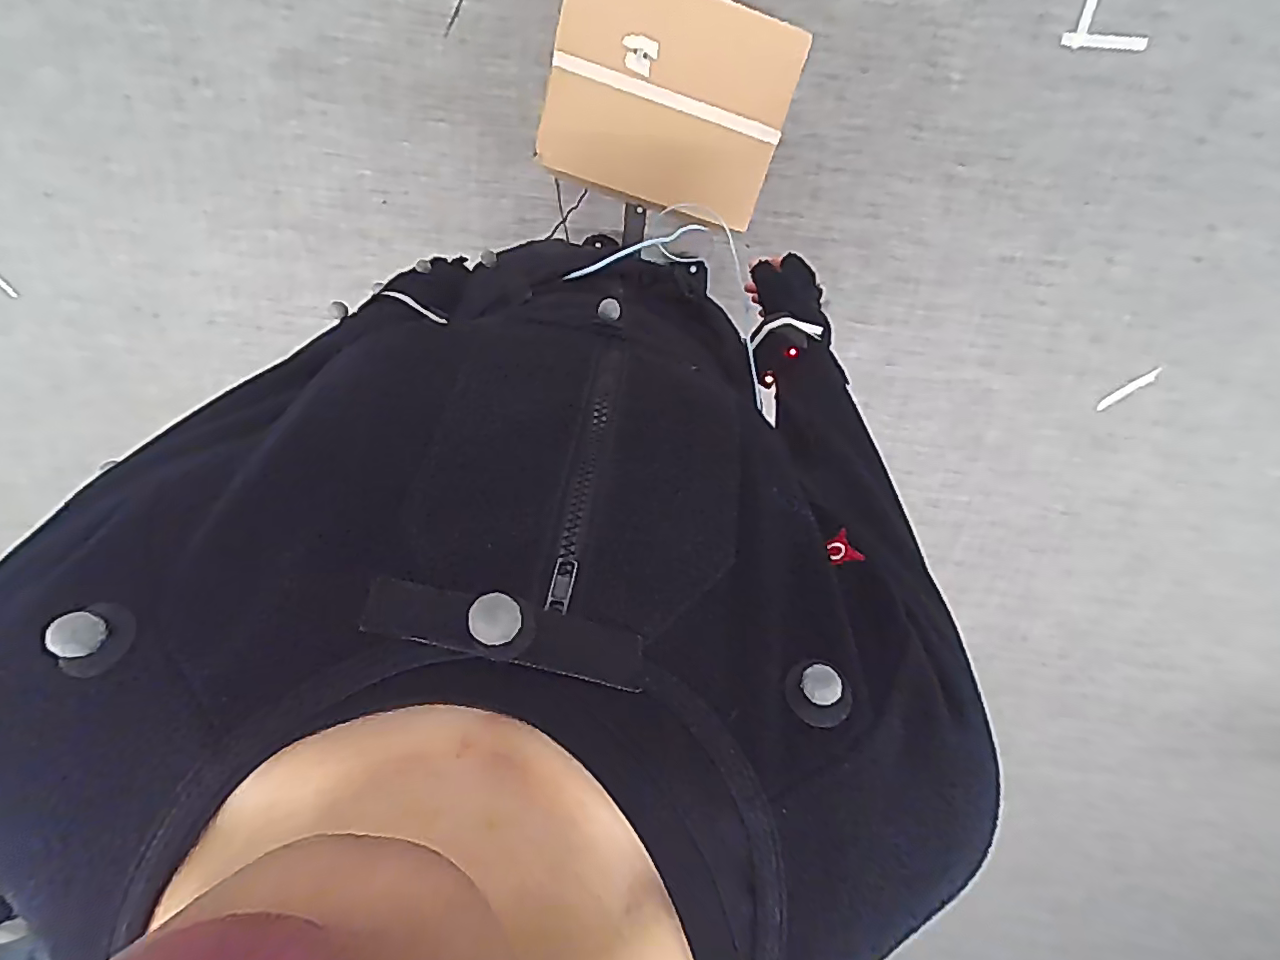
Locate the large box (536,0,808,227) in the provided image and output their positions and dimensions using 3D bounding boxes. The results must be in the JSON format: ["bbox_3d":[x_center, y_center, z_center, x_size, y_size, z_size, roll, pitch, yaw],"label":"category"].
[{"bbox_3d":[0.048,-0.714,1.058,0.408,0.320,0.320,16,112,-7],"label":"large box"}]
